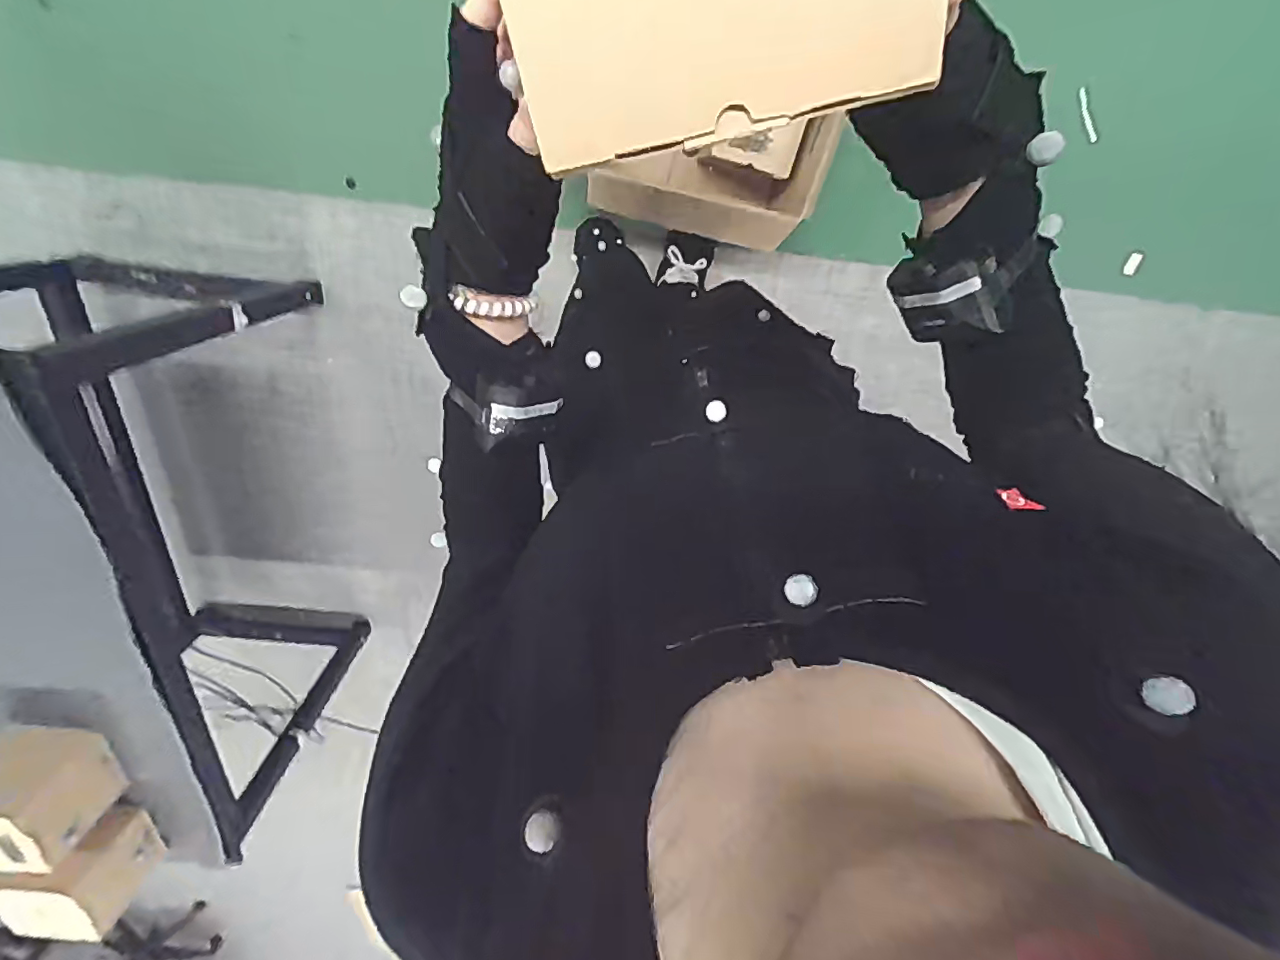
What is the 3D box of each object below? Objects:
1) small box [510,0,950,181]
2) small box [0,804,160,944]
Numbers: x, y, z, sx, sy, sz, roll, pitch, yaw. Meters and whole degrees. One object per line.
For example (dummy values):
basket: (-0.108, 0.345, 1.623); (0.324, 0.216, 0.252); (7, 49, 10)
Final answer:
small box: (0.025, -0.258, 0.245); (0.168, 0.176, 0.179); (-10, 126, 7)
small box: (-1.138, 0.785, 1.087); (0.179, 0.176, 0.168); (5, 117, -1)
